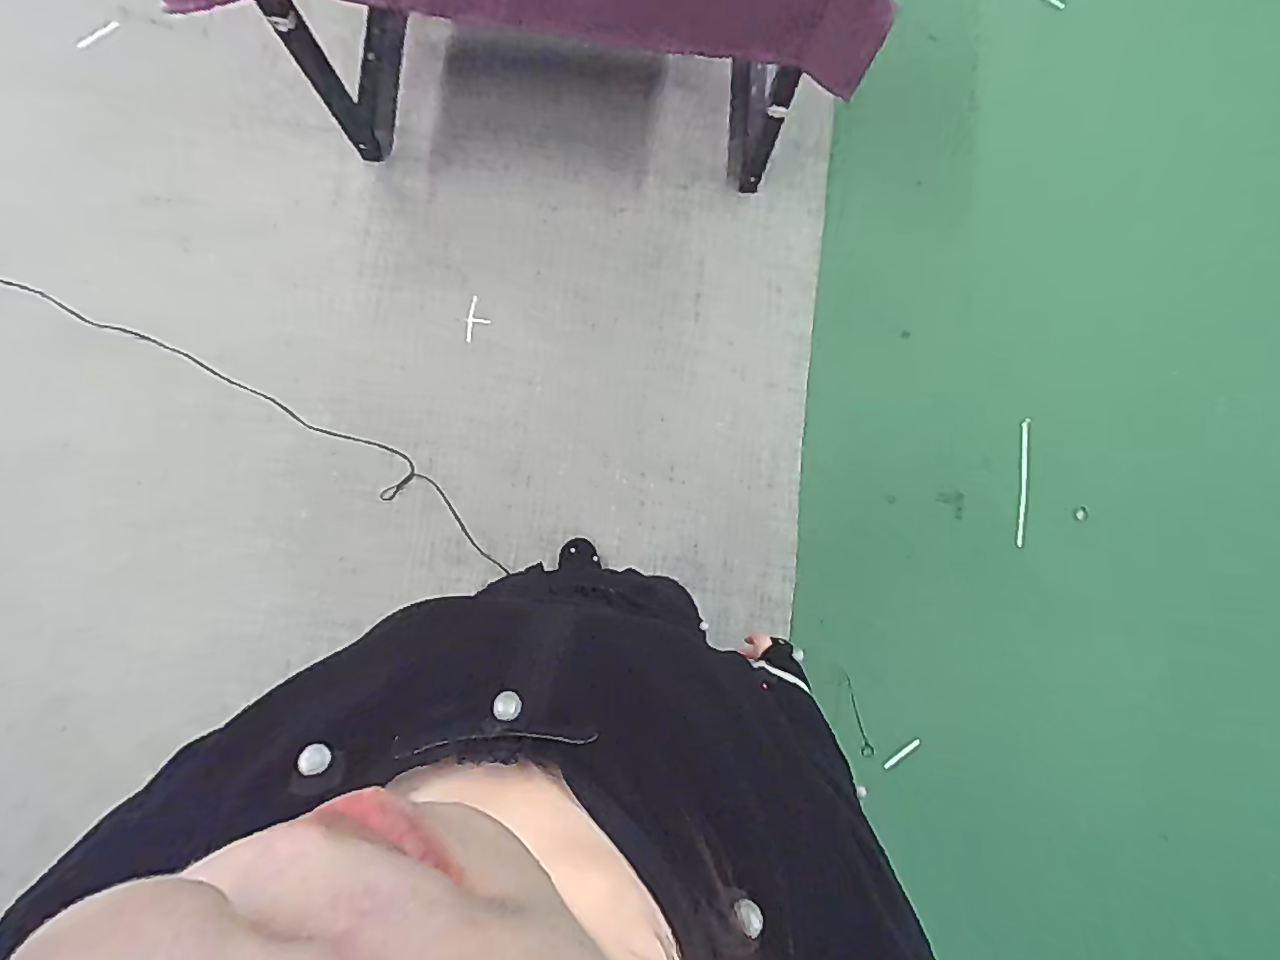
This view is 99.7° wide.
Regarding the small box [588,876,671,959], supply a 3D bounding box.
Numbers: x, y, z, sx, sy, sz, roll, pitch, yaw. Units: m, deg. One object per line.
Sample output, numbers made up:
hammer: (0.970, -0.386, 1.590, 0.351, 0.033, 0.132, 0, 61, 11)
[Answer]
small box: (-0.029, 1.082, 1.277, 0.168, 0.176, 0.179, 11, 82, 0)
